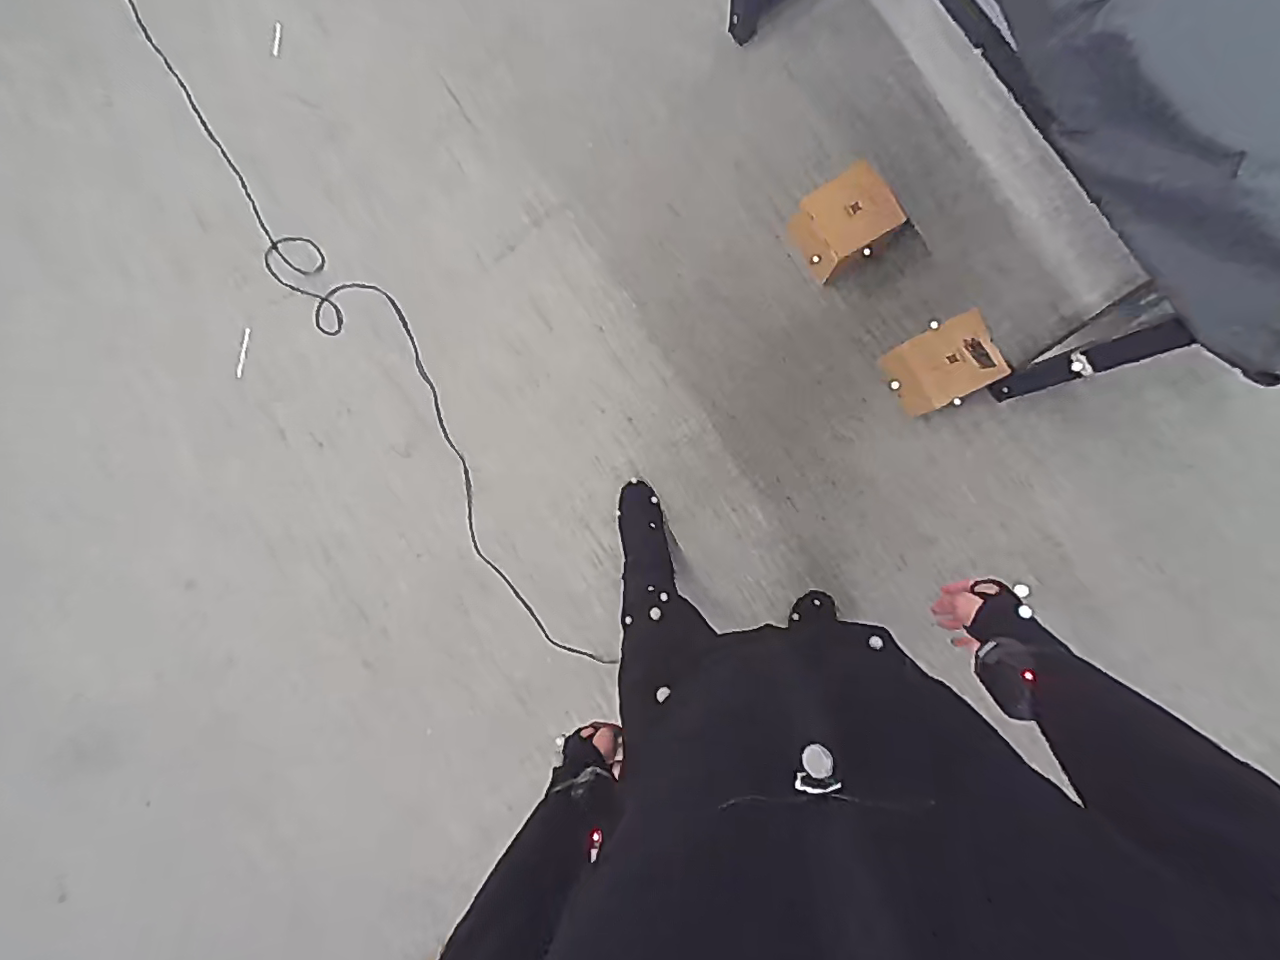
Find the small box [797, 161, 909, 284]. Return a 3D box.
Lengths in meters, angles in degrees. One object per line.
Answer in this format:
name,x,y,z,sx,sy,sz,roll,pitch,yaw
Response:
small box,0.493,-0.601,1.289,0.179,0.176,0.168,-30,87,3

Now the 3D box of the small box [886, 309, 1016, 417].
small box,0.708,-0.262,1.253,0.179,0.176,0.168,-27,86,6
